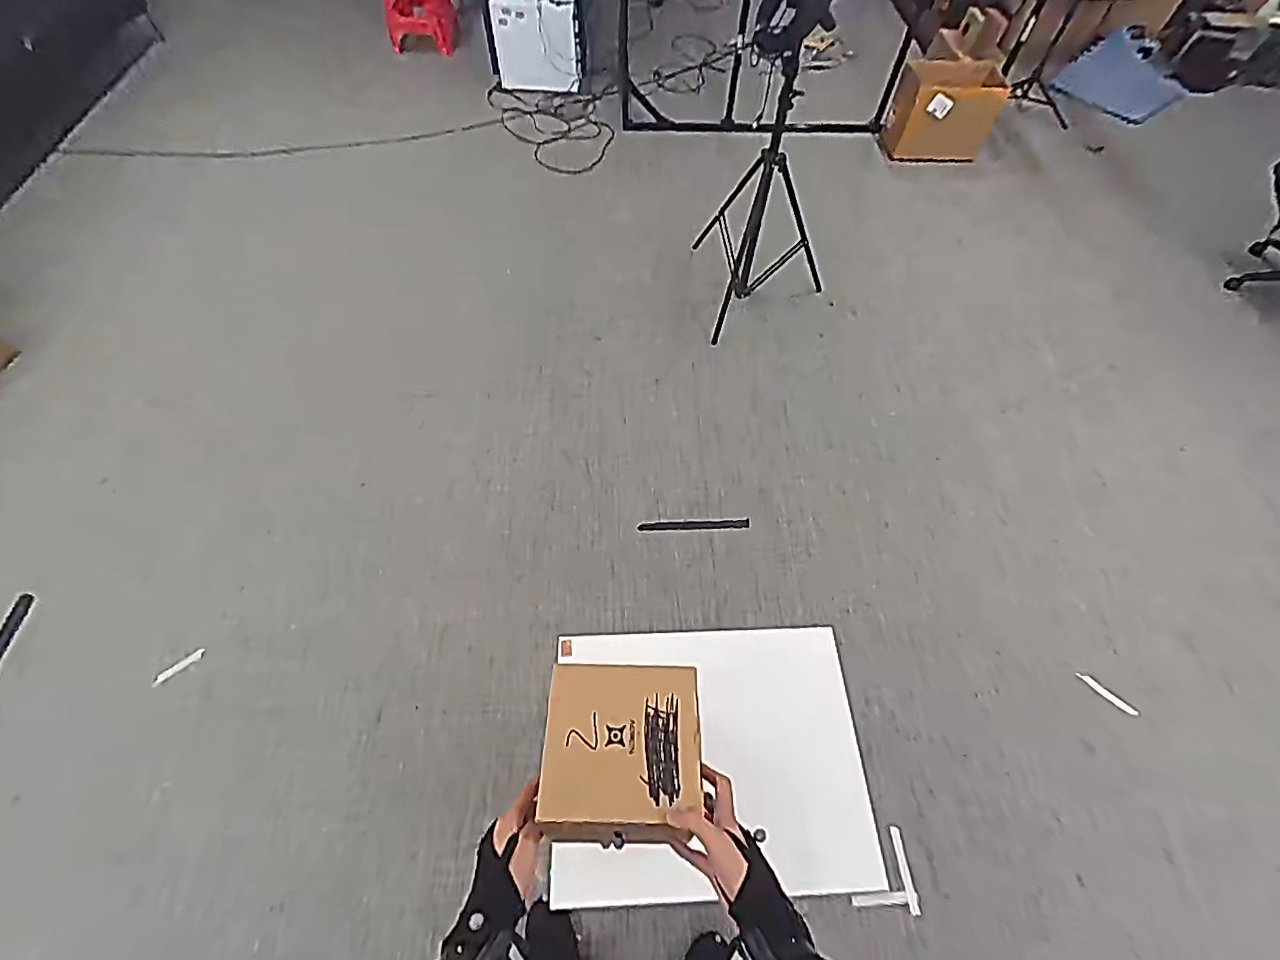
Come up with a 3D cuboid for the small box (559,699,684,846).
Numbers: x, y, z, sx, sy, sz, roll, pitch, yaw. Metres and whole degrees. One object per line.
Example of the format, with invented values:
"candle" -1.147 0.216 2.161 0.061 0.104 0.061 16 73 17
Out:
"small box" -0.025 0.434 0.808 0.168 0.176 0.179 0 59 -2
